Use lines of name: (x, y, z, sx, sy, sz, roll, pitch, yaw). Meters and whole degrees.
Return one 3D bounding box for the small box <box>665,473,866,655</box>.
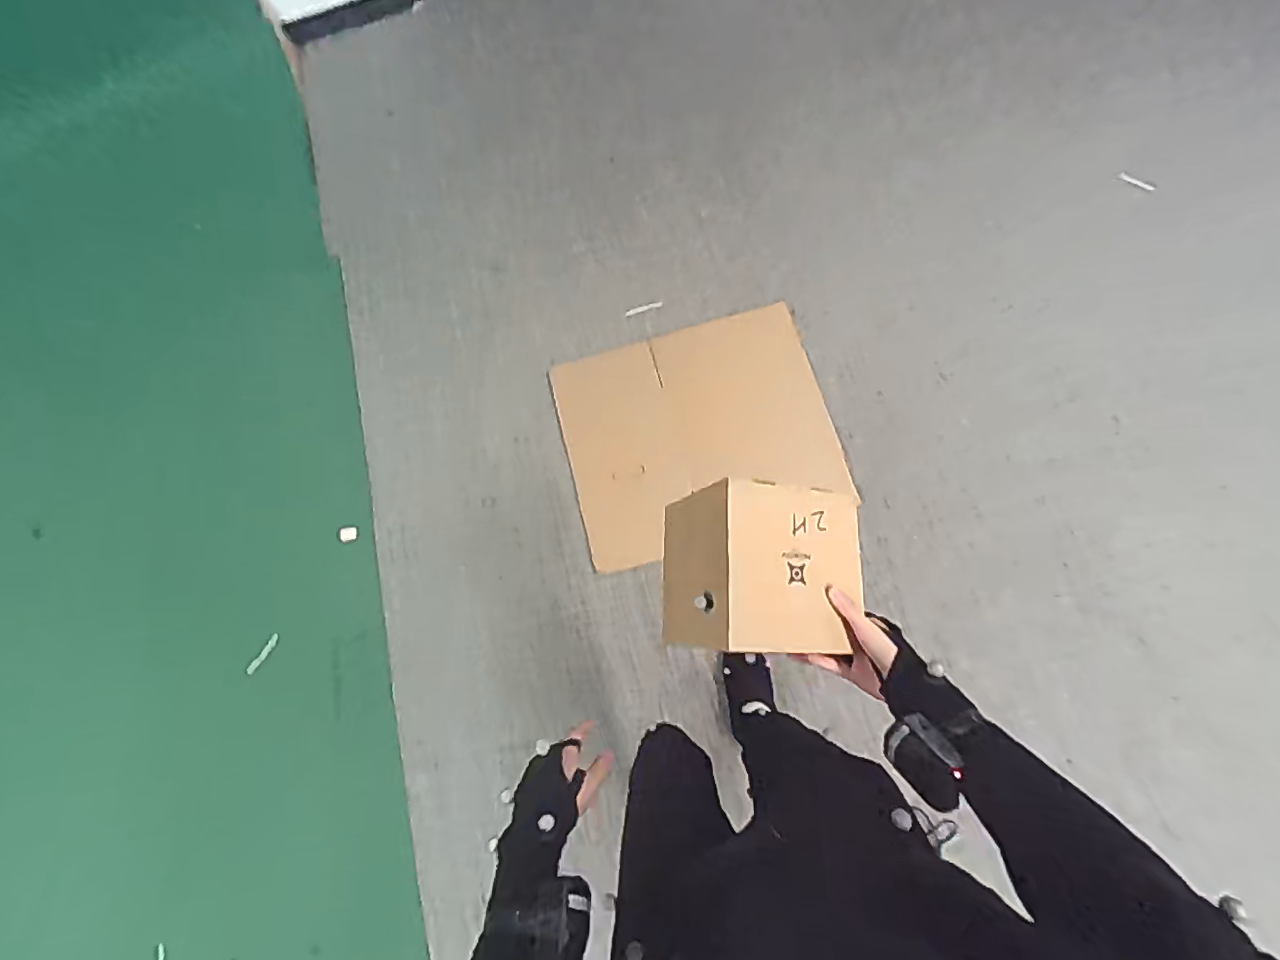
small box: (0.136, 0.105, 0.632, 0.168, 0.176, 0.179, 9, 73, -19)
